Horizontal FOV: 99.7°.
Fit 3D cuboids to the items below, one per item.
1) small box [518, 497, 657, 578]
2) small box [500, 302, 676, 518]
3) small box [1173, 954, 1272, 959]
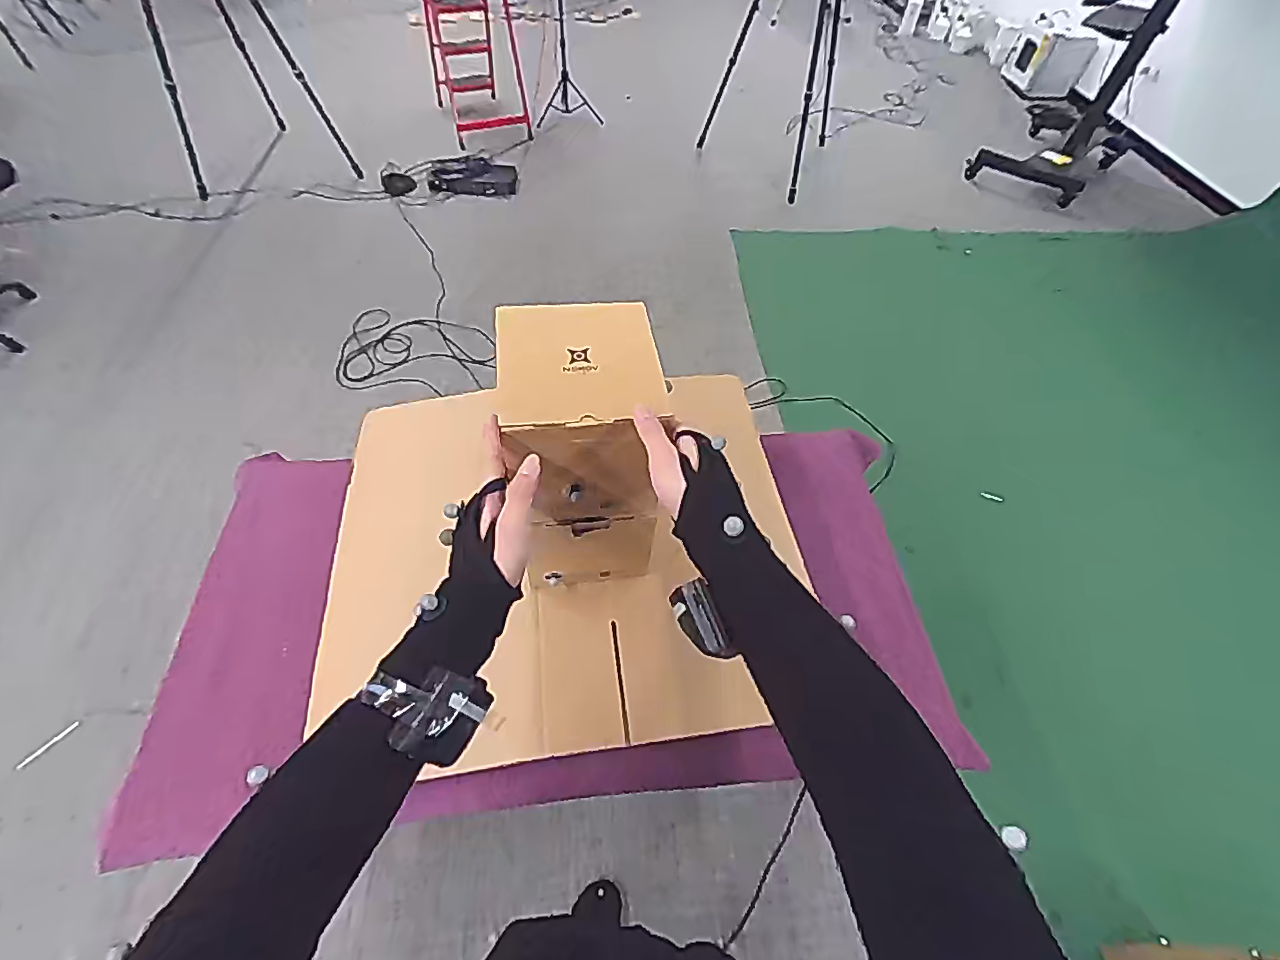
[{"bbox_3d":[-0.075,0.023,0.736,0.168,0.176,0.179,-4,55,-9],"label":"small box"},{"bbox_3d":[-0.066,-0.077,0.609,0.168,0.176,0.179,-5,57,-10],"label":"small box"},{"bbox_3d":[1.171,1.006,1.008,0.179,0.176,0.168,0,54,-3],"label":"small box"}]
